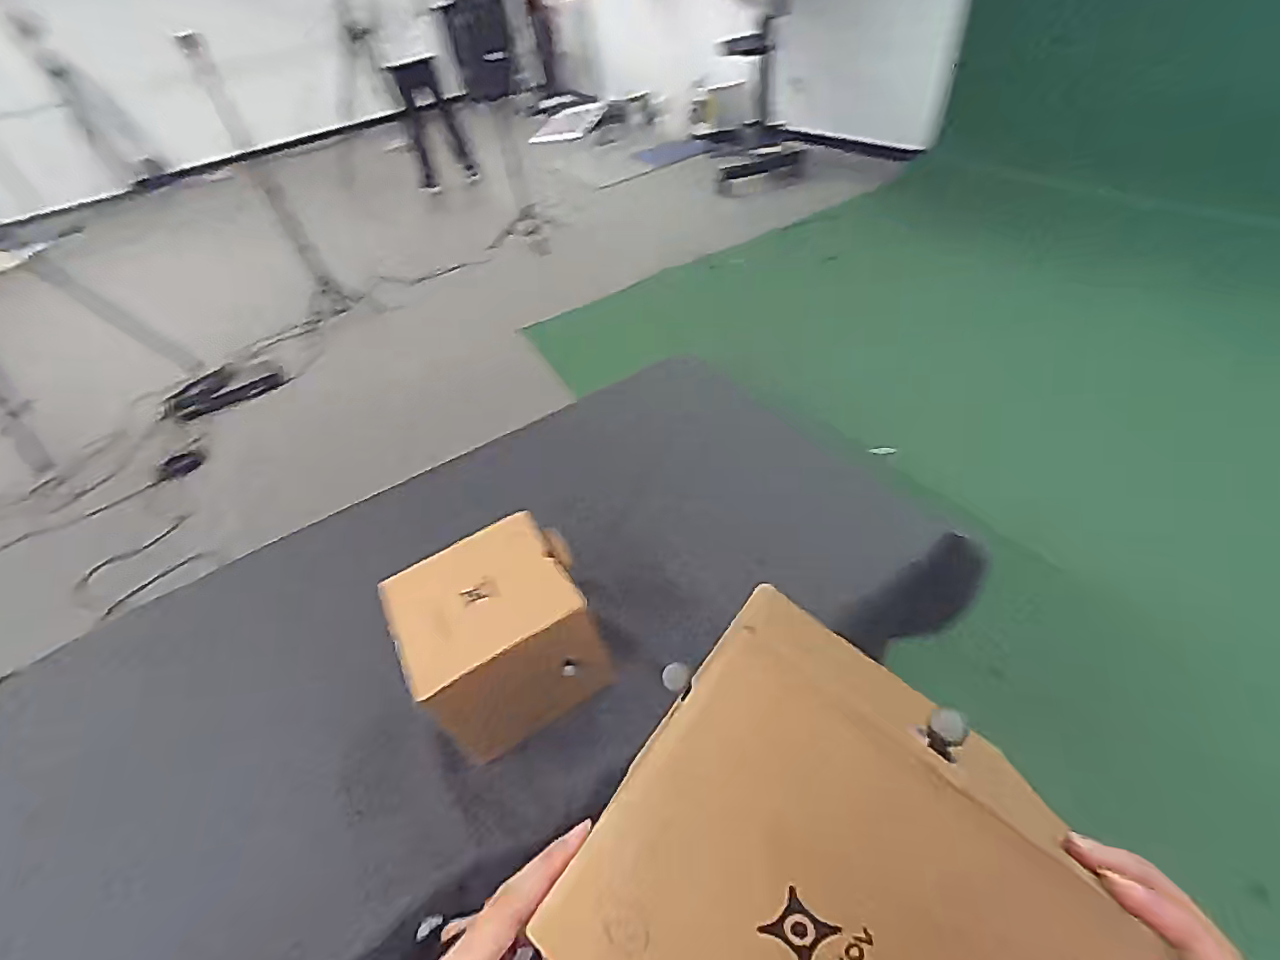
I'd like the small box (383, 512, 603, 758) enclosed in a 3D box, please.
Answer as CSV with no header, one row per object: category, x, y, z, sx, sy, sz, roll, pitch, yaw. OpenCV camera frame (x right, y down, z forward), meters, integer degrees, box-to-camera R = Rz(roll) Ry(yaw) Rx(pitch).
small box,-0.157,0.176,0.620,0.179,0.176,0.168,-30,45,-17
